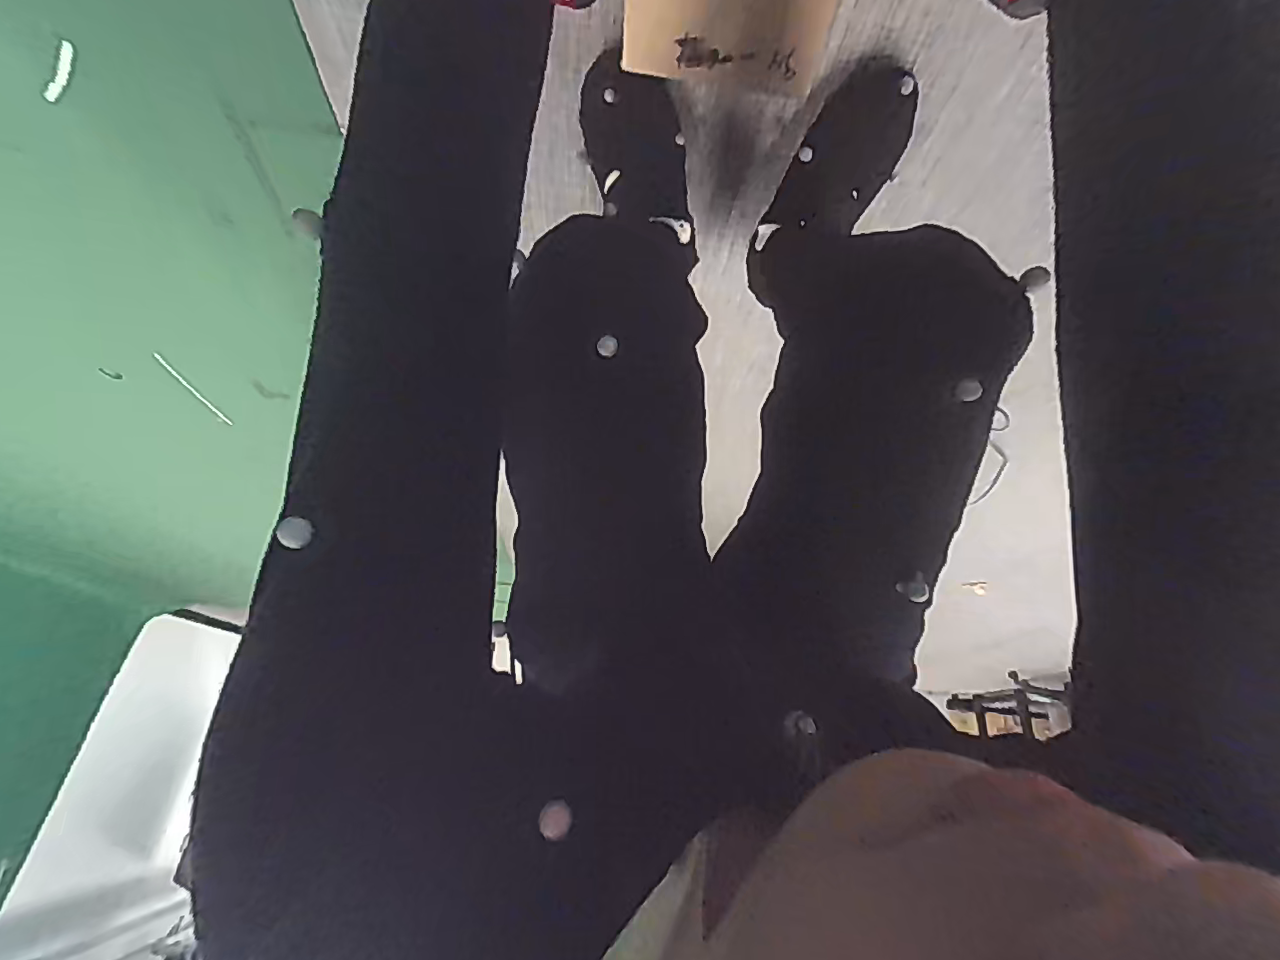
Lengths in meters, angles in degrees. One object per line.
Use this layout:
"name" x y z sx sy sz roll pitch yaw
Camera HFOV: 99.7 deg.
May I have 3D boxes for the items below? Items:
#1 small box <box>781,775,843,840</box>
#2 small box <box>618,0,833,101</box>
"small box" 0.586 1.124 1.868 0.168 0.176 0.179 6 156 3
"small box" 0.077 -0.455 0.436 0.168 0.176 0.179 8 152 -2
